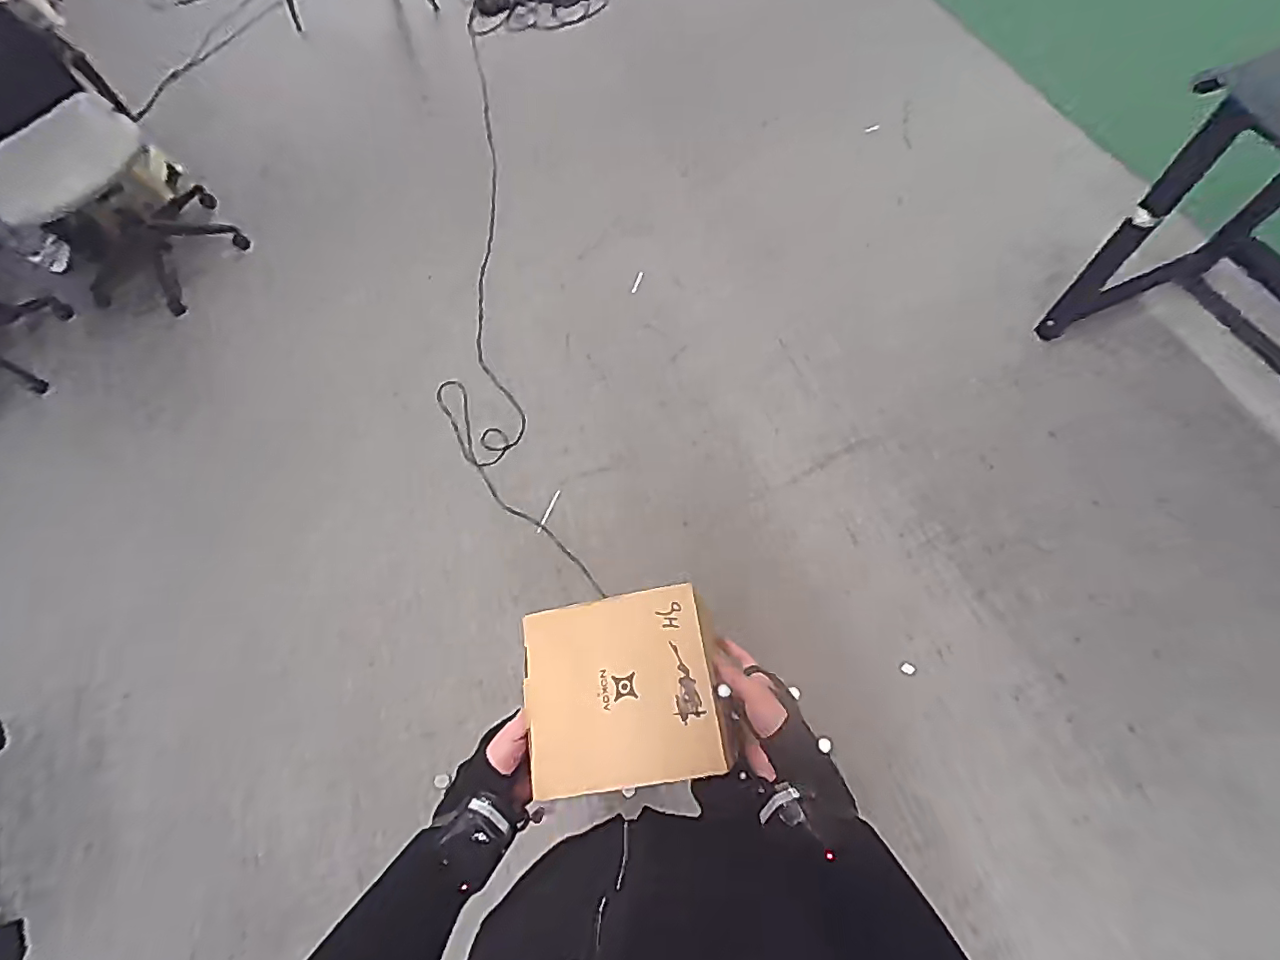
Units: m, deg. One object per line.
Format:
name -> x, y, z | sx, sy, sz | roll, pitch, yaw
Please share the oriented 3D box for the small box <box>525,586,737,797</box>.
small box -> -0.004, 0.221, 0.568 | 0.179, 0.176, 0.168 | -12, 66, 9
